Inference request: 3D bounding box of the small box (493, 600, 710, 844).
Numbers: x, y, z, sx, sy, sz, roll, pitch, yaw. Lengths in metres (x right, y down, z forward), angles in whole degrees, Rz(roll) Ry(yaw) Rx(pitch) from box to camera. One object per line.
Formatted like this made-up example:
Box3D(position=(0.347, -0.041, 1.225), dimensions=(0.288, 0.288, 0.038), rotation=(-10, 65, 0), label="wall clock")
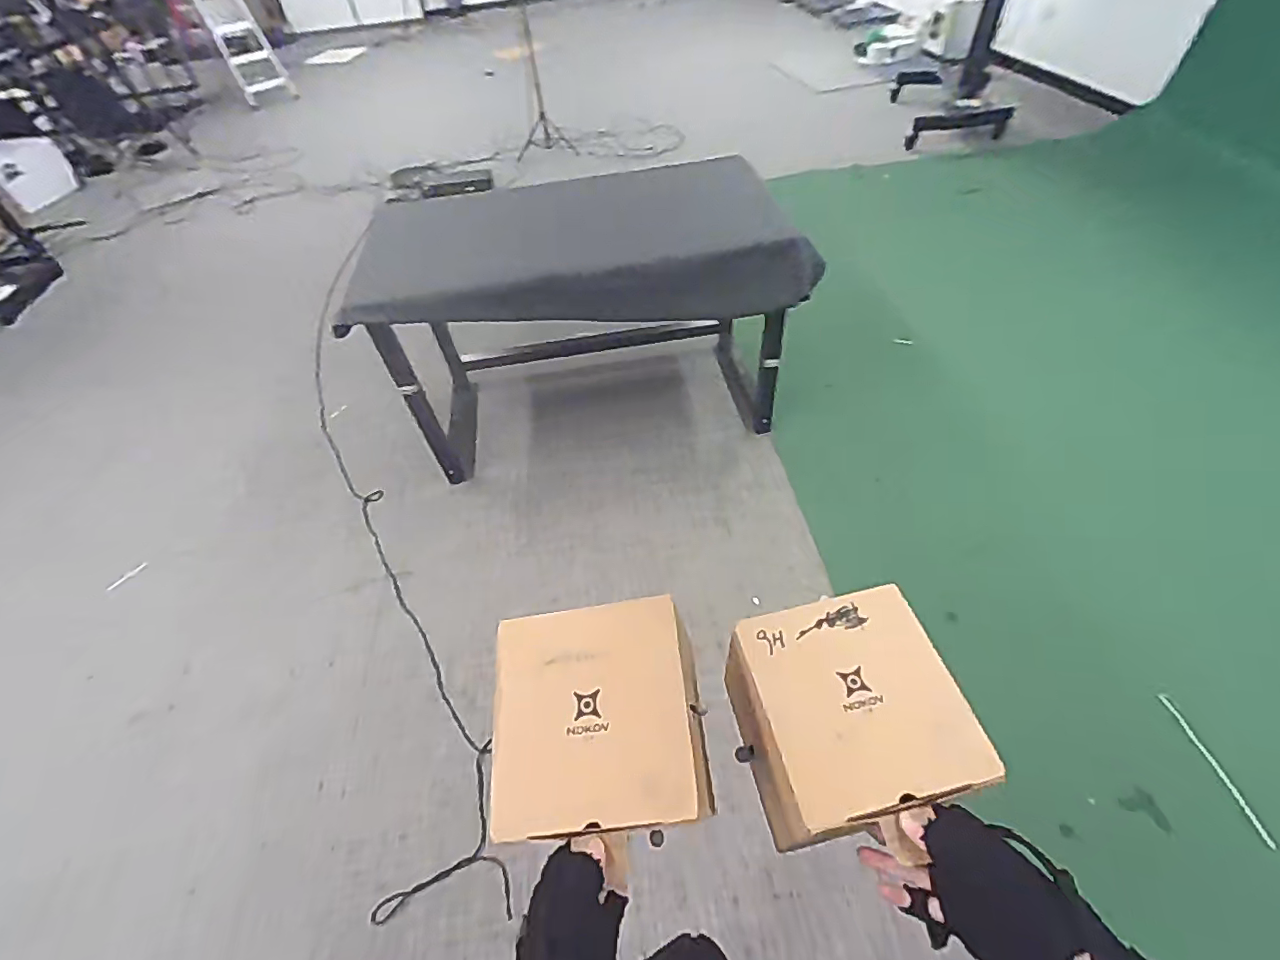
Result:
Box3D(position=(-0.029, 0.236, 0.527), dimensions=(0.168, 0.176, 0.179), rotation=(-11, 58, 6), label="small box")
